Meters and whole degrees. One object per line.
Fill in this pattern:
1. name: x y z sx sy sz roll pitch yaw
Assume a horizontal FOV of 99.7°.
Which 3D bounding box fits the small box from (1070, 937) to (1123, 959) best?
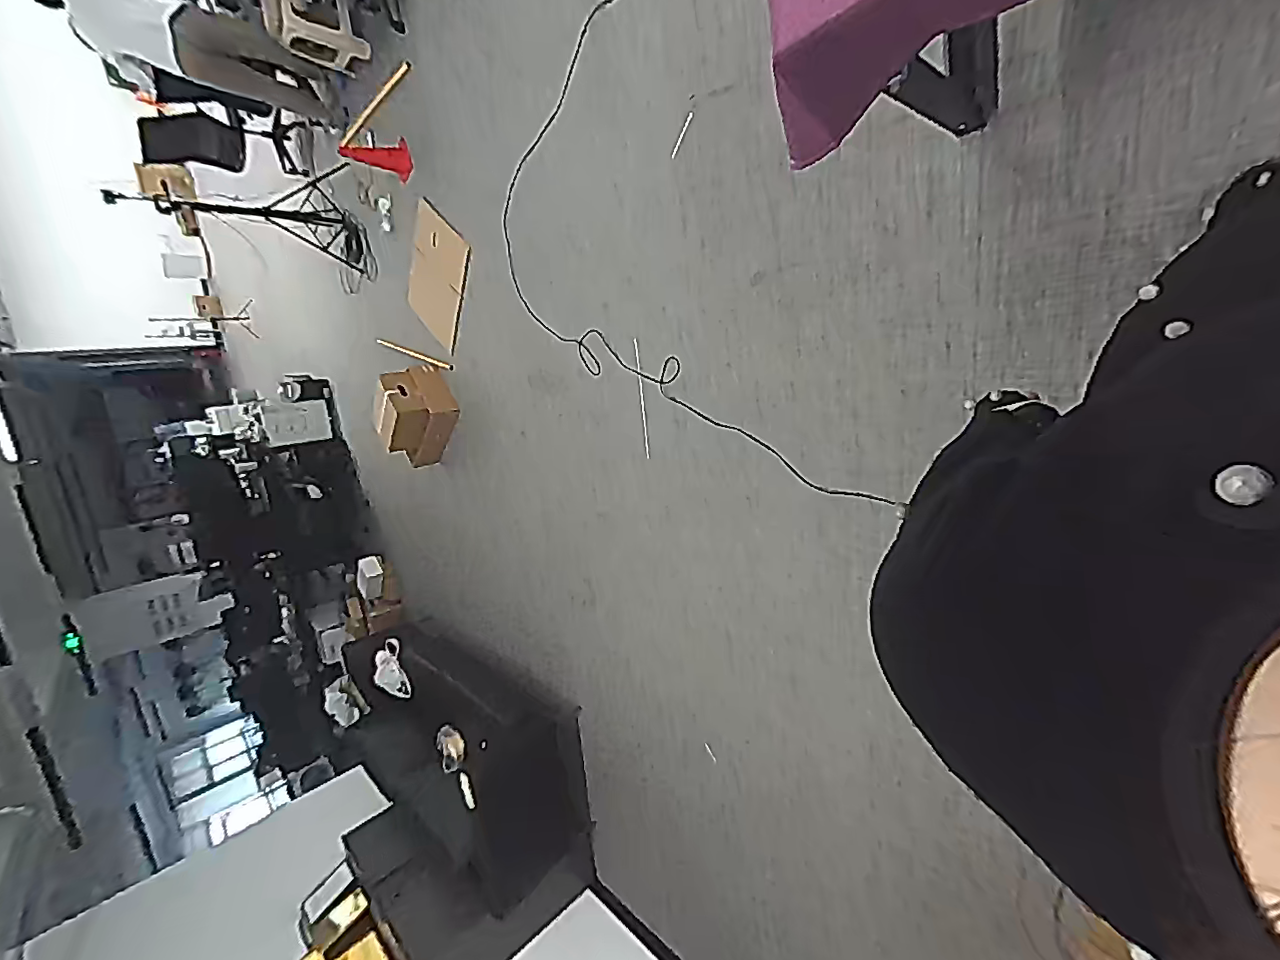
1. small box: 0.931 1.073 1.060 0.168 0.176 0.179 13 114 45
